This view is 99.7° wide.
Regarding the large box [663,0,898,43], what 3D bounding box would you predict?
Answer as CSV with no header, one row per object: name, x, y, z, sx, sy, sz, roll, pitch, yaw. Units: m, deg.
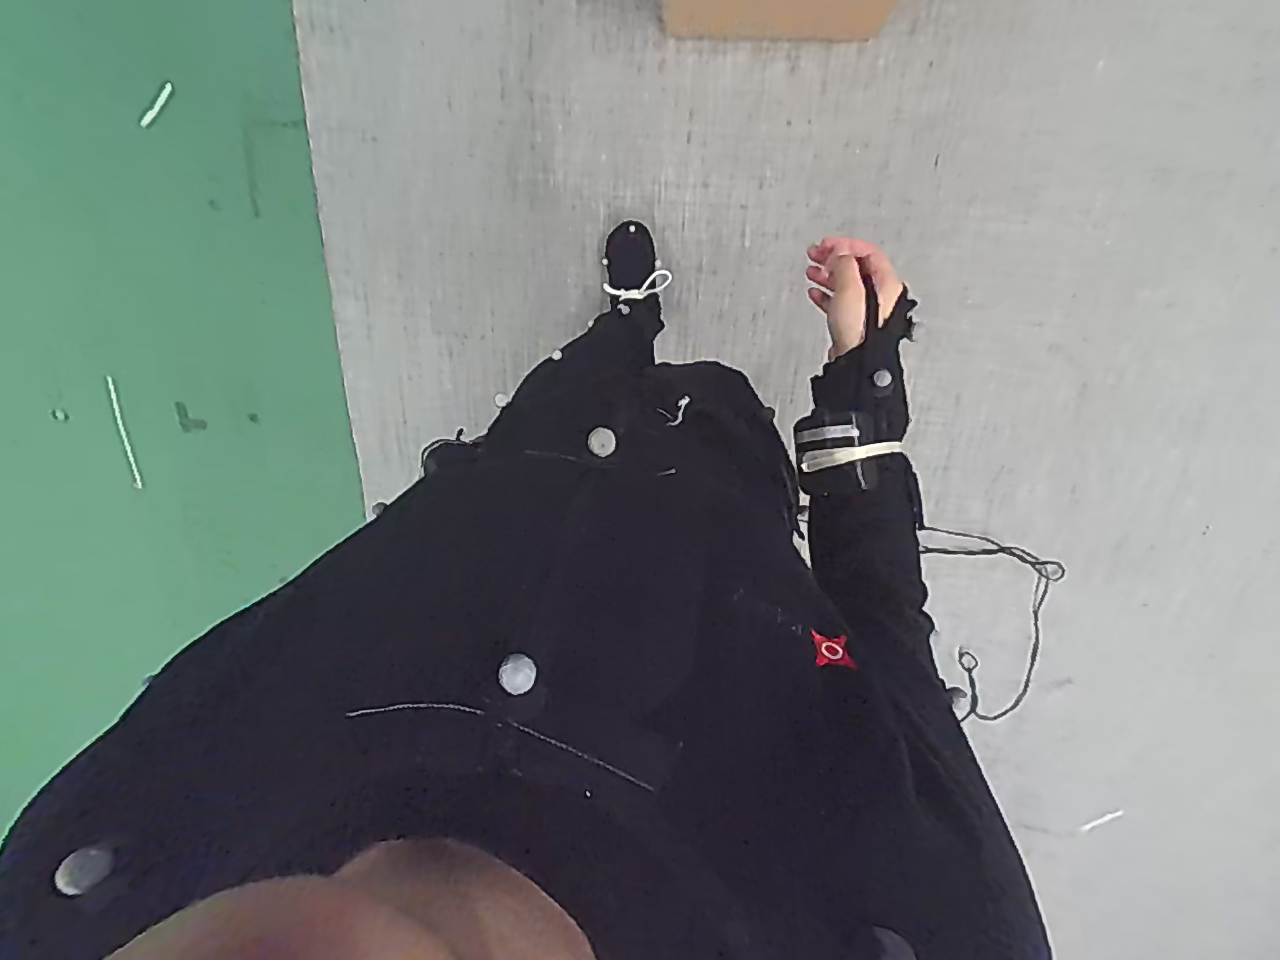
large box,0.238,-0.946,0.861,0.408,0.320,0.320,3,111,3
